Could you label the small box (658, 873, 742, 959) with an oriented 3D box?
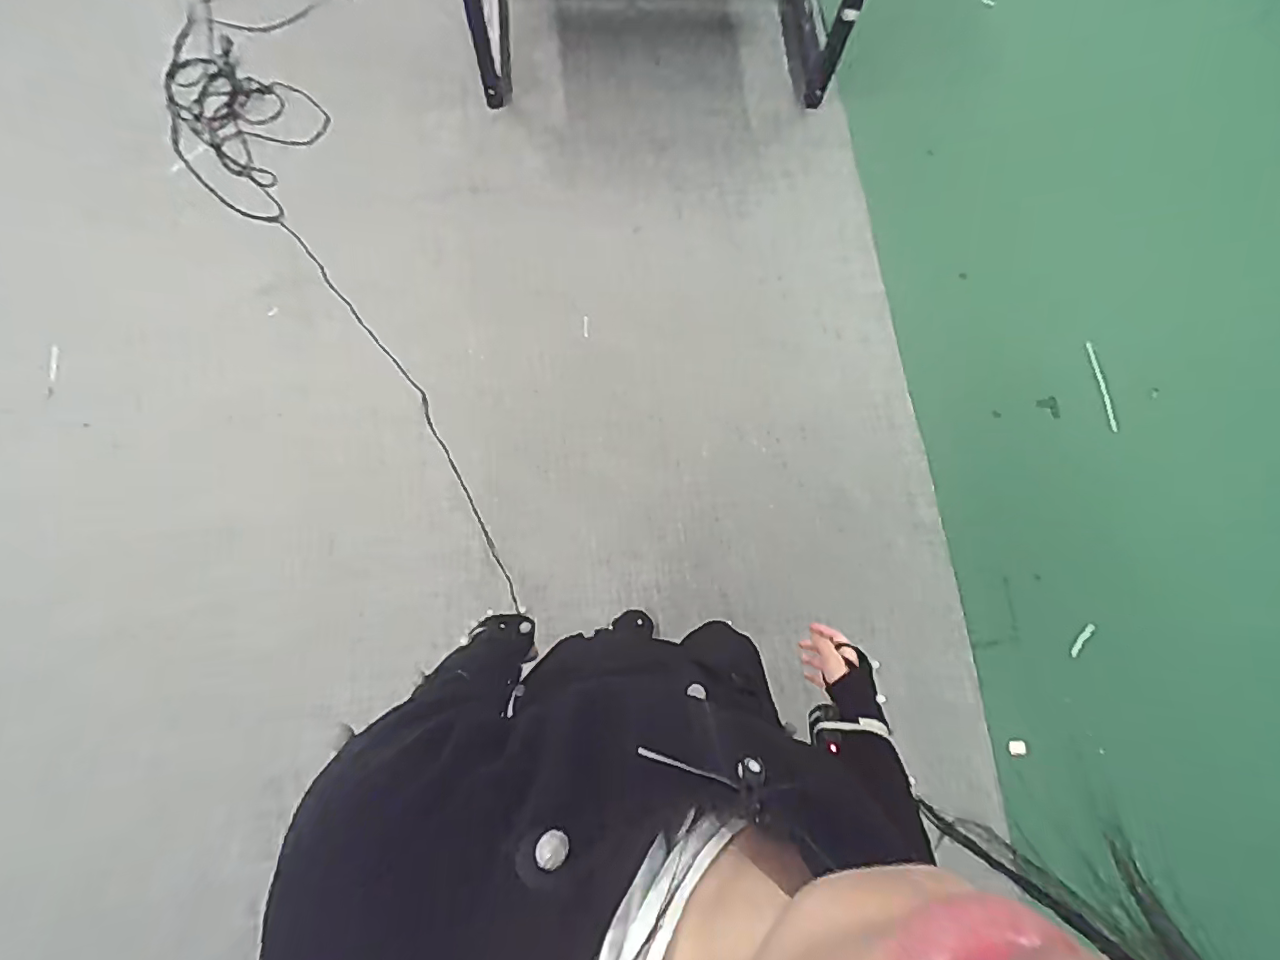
[{"bbox_3d":[0.137,1.067,1.267,0.168,0.176,0.179,-4,77,-6],"label":"small box"}]
